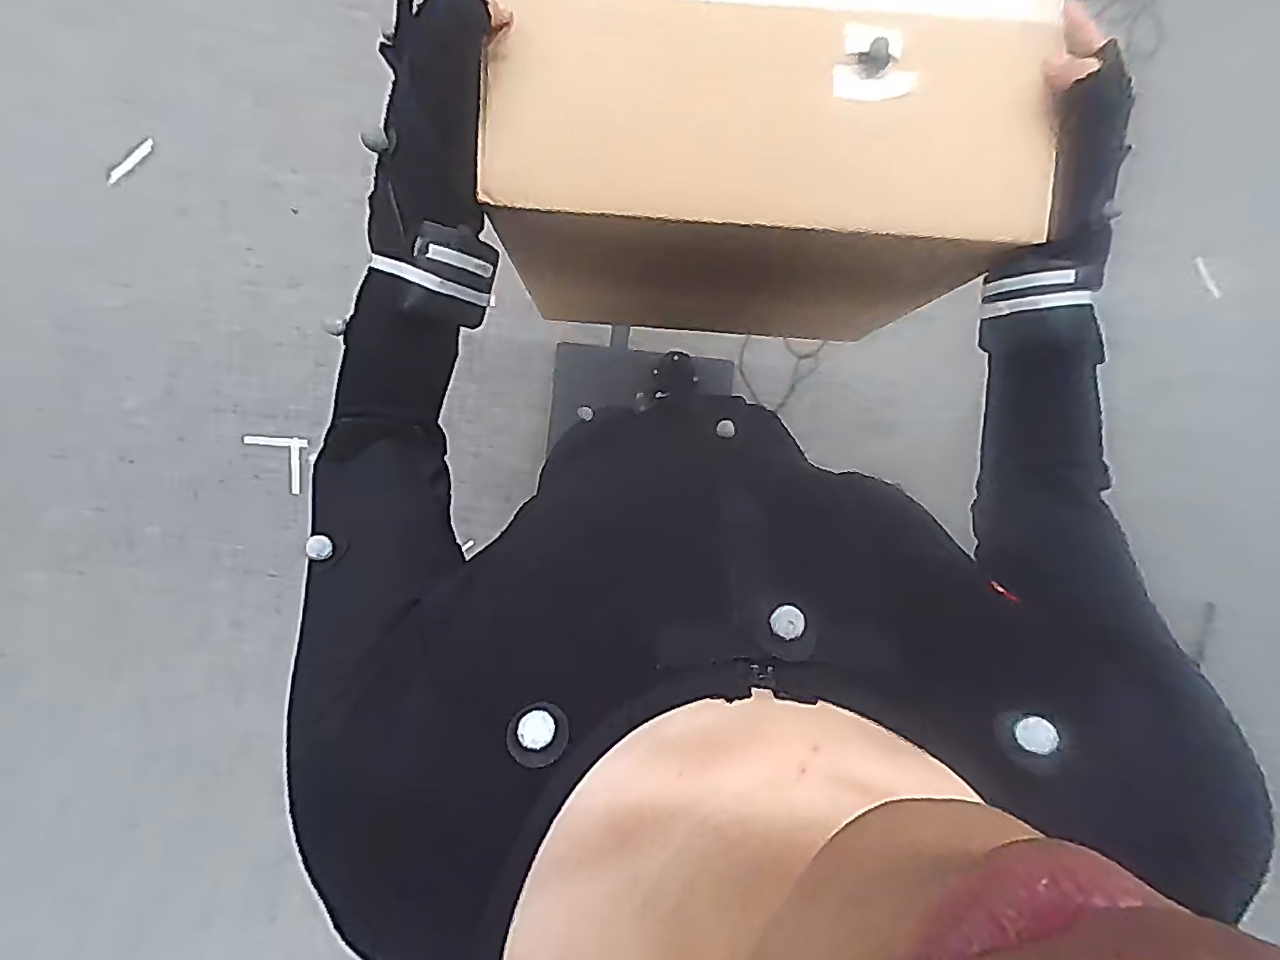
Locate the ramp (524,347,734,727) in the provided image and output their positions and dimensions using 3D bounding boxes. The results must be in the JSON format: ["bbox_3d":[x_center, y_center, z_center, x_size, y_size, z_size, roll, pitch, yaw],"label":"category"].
[{"bbox_3d":[-0.025,0.147,1.474,0.509,0.206,0.991,4,97,0],"label":"ramp"}]

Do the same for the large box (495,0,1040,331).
[{"bbox_3d":[0.090,-0.348,0.543,0.408,0.320,0.320,3,92,-3],"label":"large box"}]
